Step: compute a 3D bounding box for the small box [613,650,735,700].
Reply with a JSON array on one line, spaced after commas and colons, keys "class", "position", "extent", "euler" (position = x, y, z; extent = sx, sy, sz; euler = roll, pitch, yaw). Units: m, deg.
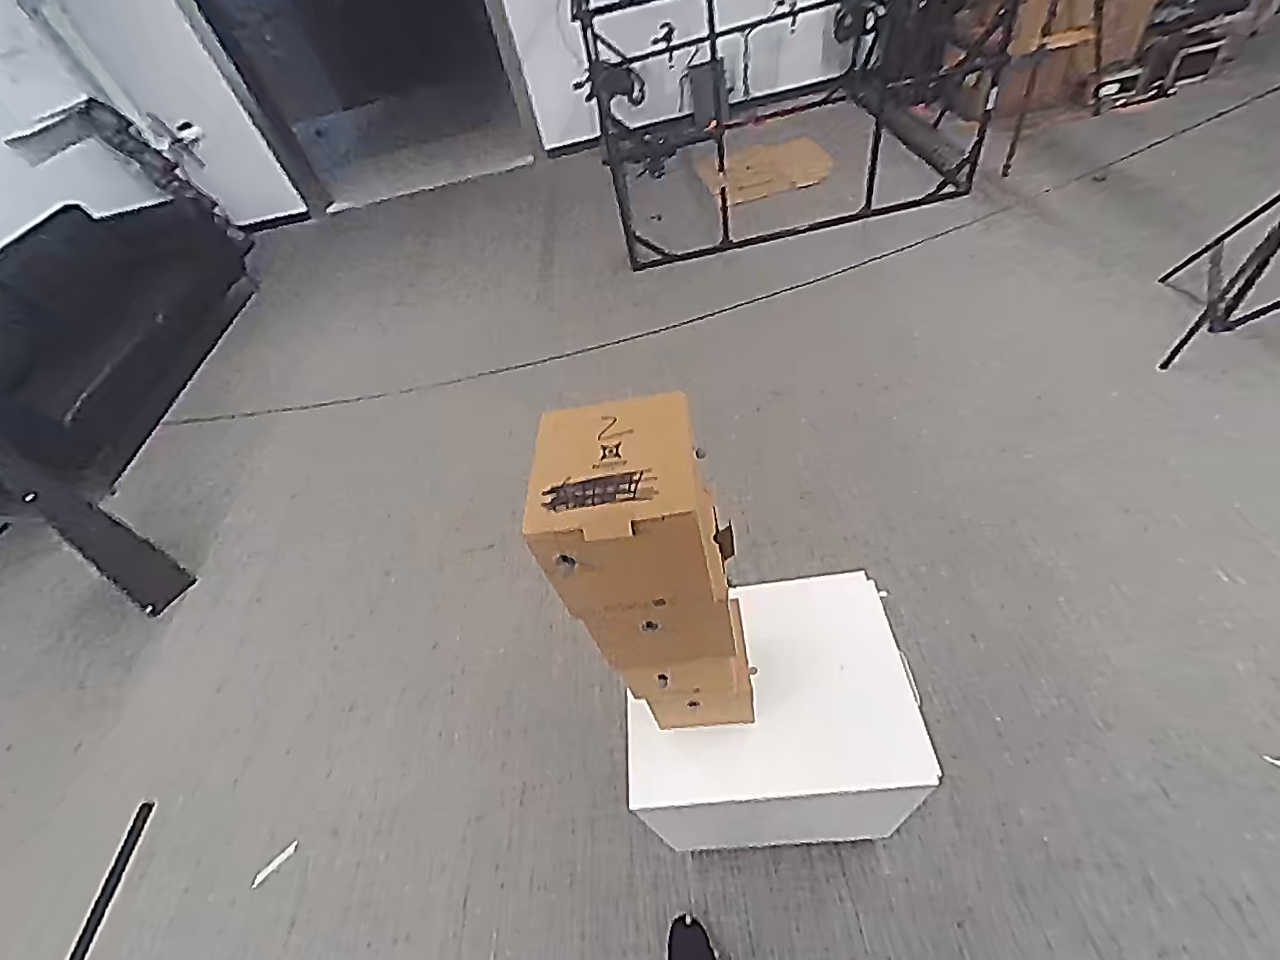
[{"class": "small box", "position": [0.058, 0.237, 0.857], "extent": [0.168, 0.176, 0.179], "euler": [-7, 48, 9]}]

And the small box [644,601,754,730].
[{"class": "small box", "position": [0.106, 0.339, 0.975], "extent": [0.179, 0.176, 0.168], "euler": [-7, 49, 7]}]

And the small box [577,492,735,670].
[{"class": "small box", "position": [0.026, 0.141, 0.726], "extent": [0.179, 0.176, 0.168], "euler": [-9, 48, 7]}]
